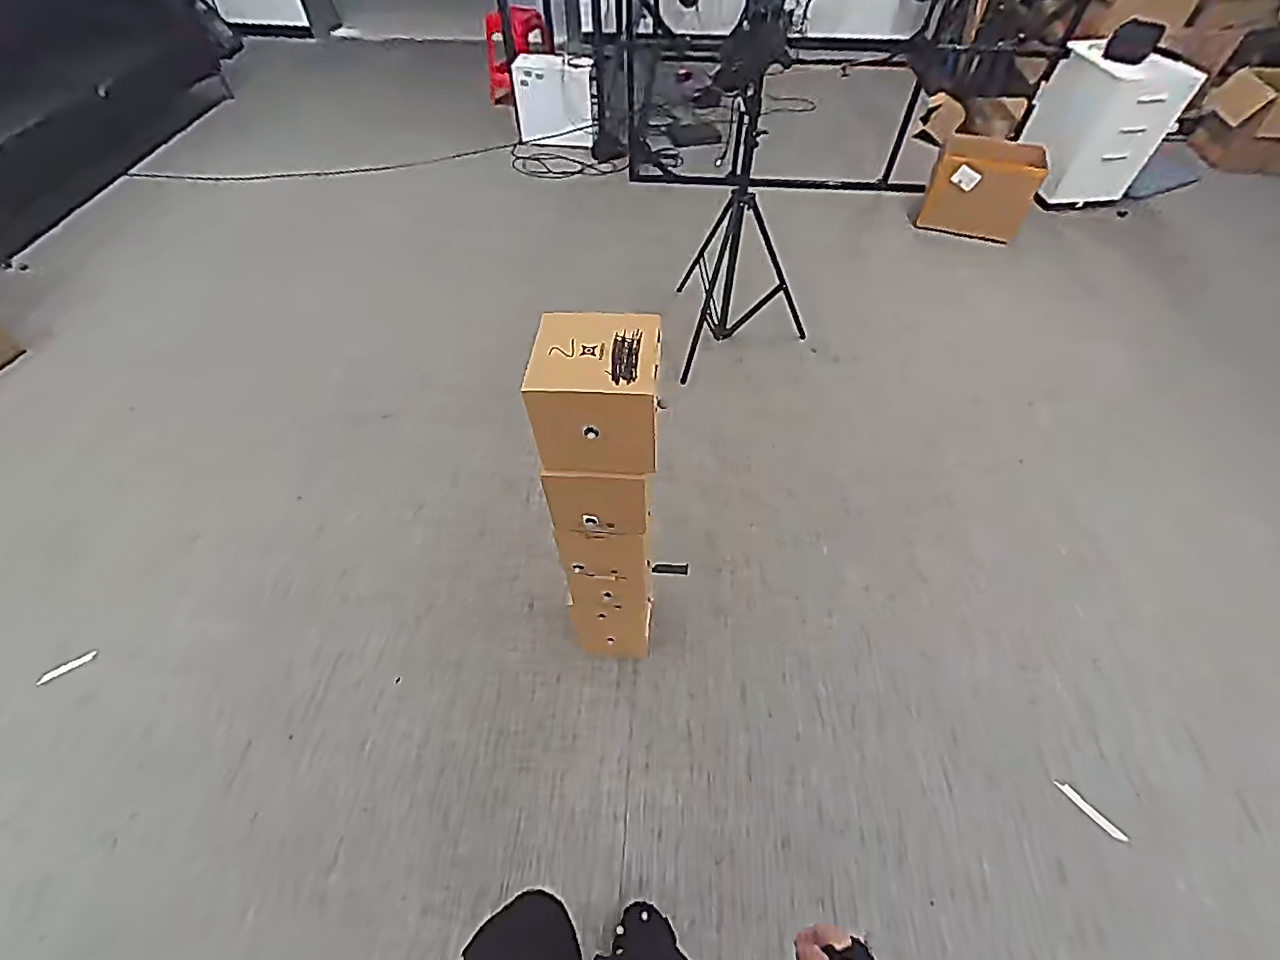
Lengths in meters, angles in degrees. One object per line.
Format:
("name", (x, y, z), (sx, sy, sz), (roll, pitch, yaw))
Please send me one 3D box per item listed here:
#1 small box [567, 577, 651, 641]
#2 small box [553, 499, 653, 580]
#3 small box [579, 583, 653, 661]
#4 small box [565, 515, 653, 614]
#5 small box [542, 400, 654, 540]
("small box", (-0.068, 0.281, 1.319), (0.179, 0.176, 0.168), (5, 54, 5))
("small box", (-0.063, 0.081, 1.060), (0.168, 0.176, 0.179), (4, 53, 4))
("small box", (-0.059, 0.377, 1.453), (0.179, 0.176, 0.168), (3, 54, 3))
("small box", (-0.059, 0.181, 1.190), (0.168, 0.176, 0.179), (5, 54, 4))
("small box", (-0.062, -0.016, 0.930), (0.168, 0.176, 0.179), (2, 54, 3))
